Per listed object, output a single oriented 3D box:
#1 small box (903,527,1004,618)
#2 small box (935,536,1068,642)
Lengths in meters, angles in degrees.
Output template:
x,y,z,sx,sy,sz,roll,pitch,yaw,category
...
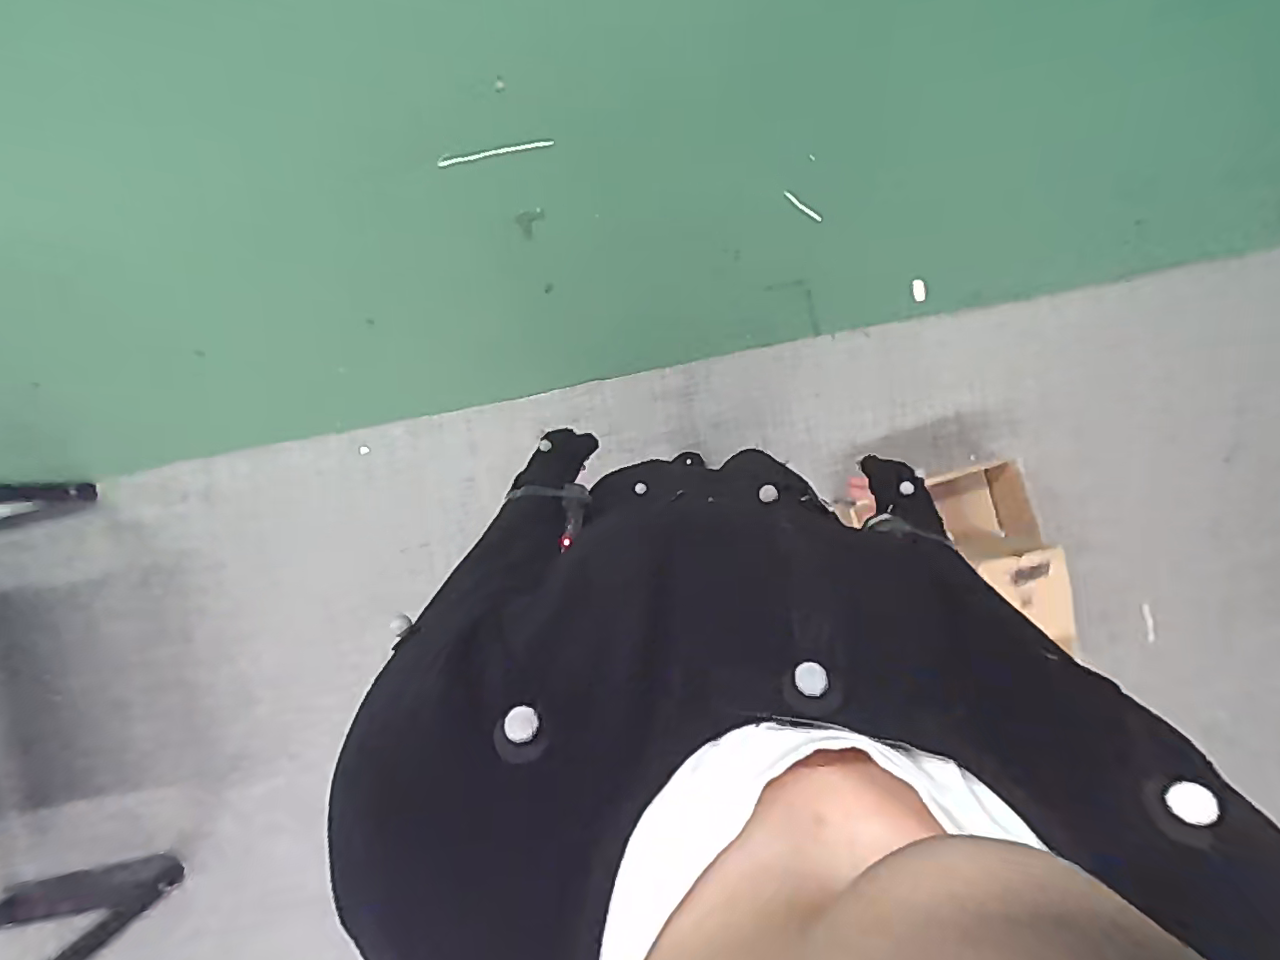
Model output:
x,y,z,sx,sy,sz,roll,pitch,yaw,category
0.759,0.214,1.306,0.168,0.176,0.179,-10,94,4,small box
0.751,0.220,1.142,0.168,0.176,0.179,-11,94,4,small box
